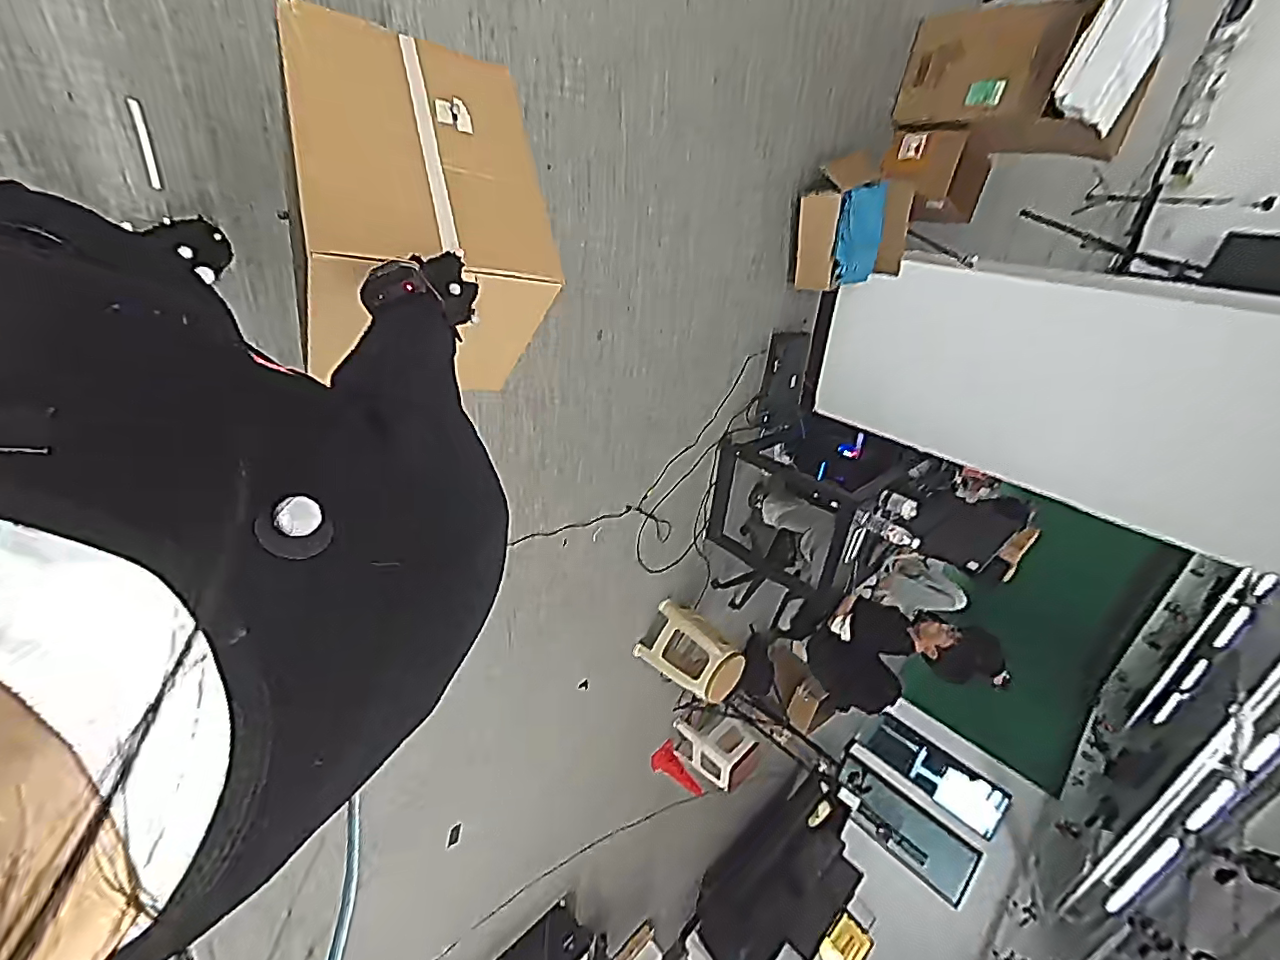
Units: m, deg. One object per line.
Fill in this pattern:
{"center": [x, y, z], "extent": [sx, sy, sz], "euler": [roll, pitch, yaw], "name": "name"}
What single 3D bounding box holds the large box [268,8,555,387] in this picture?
{"center": [-0.374, -0.397, 0.859], "extent": [0.320, 0.320, 0.408], "euler": [-7, 72, -35], "name": "large box"}
